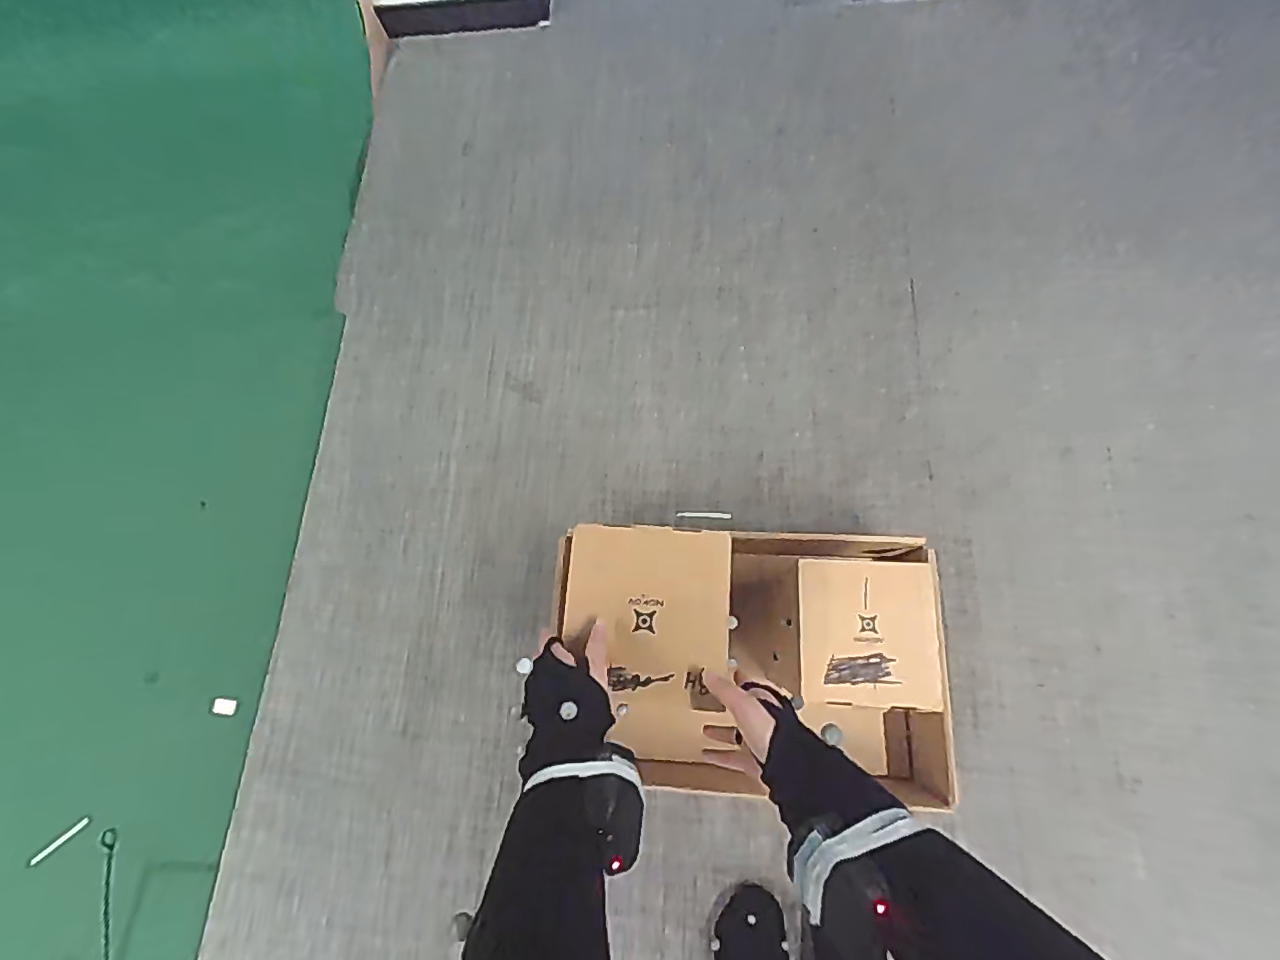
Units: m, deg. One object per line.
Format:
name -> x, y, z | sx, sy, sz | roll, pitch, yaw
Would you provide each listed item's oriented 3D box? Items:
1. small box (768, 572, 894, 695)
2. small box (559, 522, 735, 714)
small box -> 0.307, 0.250, 0.899 | 0.168, 0.176, 0.179 | 1, 75, 6
small box -> 0.016, 0.155, 0.614 | 0.168, 0.176, 0.179 | 3, 74, 7
